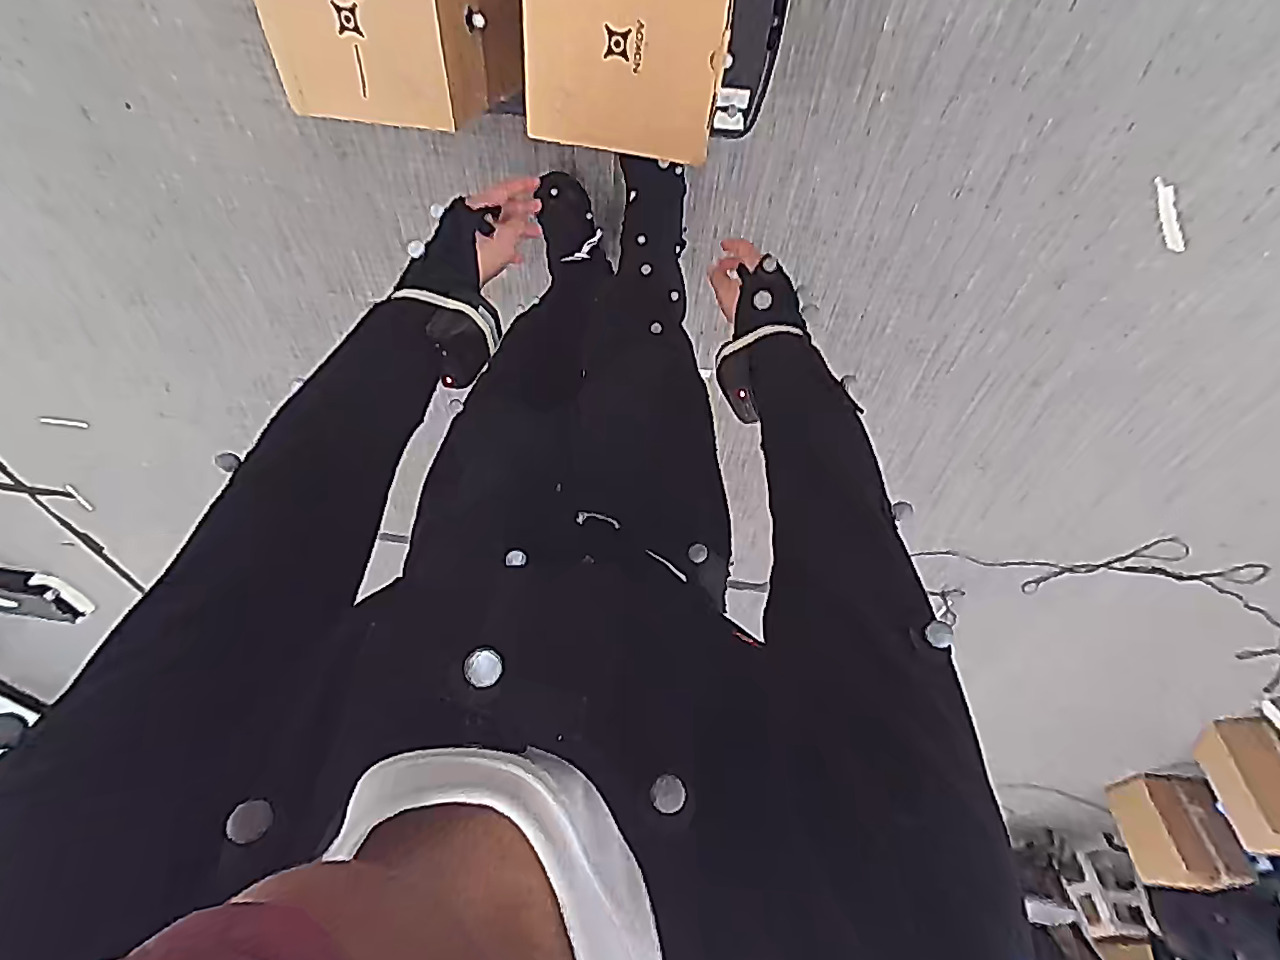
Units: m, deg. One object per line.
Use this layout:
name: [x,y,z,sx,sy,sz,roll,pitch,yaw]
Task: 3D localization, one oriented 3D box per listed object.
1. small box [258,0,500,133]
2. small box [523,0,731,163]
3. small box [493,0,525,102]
small box: [-0.244,-0.467,0.525,0.168,0.176,0.179,8,136,1]
small box: [-0.008,-0.435,0.526,0.179,0.176,0.168,9,136,-1]
small box: [-0.226,-0.581,0.643,0.168,0.176,0.179,8,136,0]
